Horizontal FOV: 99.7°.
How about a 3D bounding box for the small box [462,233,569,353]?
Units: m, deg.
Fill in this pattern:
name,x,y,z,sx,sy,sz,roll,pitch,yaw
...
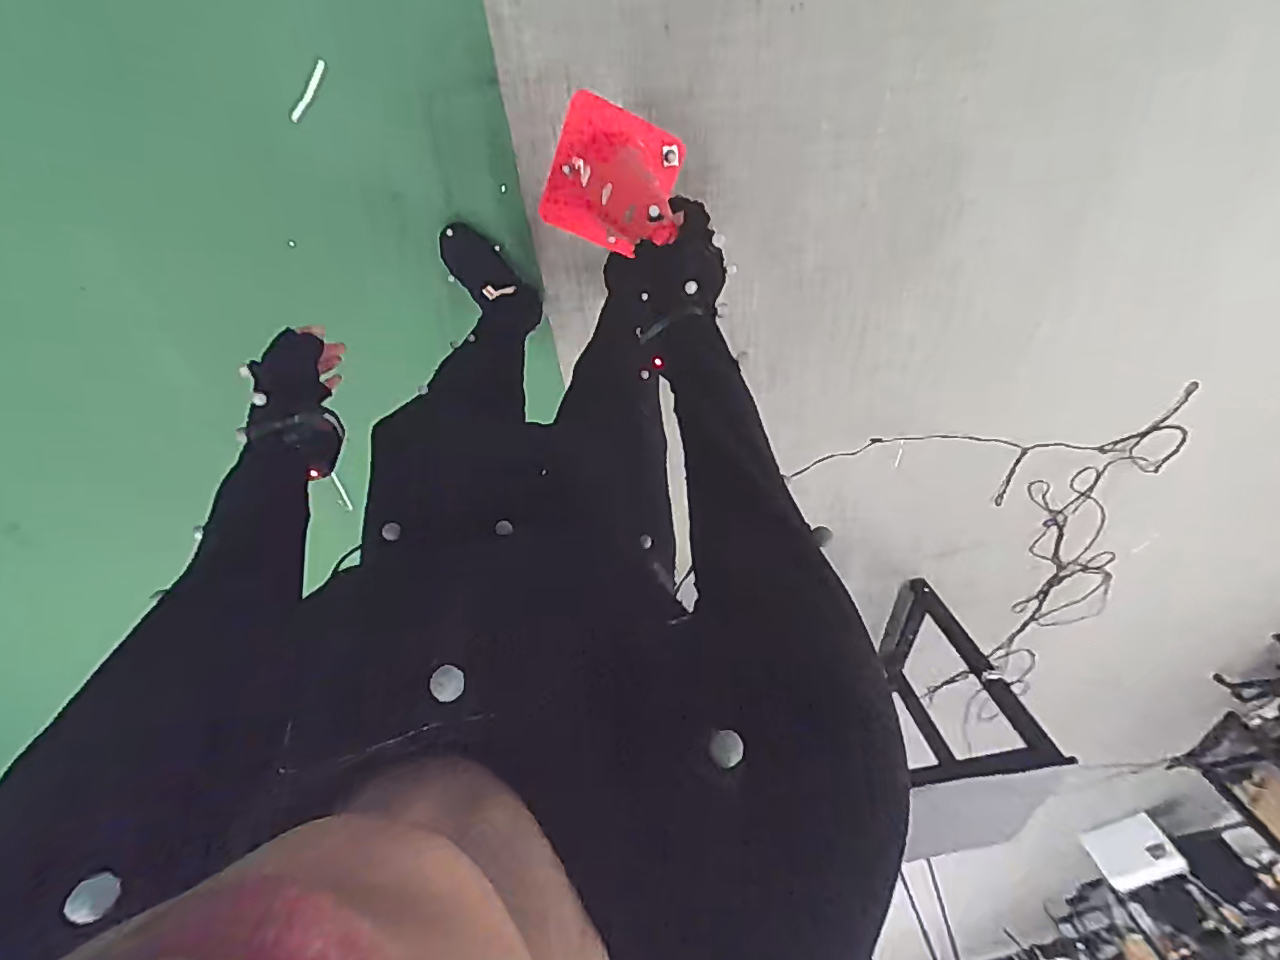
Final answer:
name,x,y,z,sx,sy,sz,roll,pitch,yaw
small box,-0.276,-0.416,1.194,0.168,0.176,0.179,-26,130,-4
